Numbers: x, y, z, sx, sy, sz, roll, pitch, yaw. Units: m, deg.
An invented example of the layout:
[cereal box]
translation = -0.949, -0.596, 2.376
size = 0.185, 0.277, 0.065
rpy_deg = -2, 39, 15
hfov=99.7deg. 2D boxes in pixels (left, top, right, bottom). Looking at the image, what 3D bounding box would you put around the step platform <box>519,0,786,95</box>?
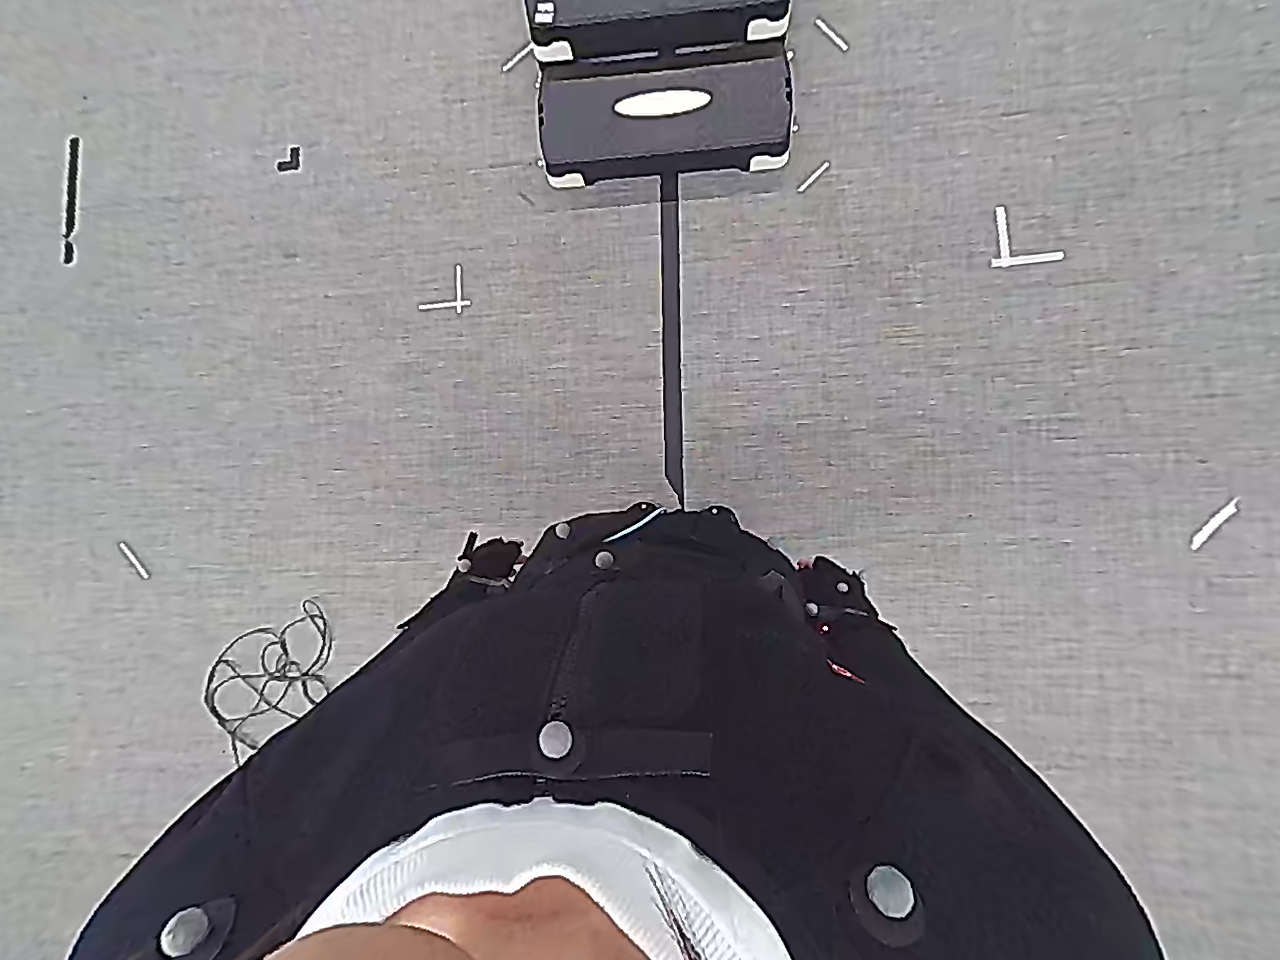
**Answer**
[step platform]
translation = 0.032, -1.242, 1.408
size = 0.684, 0.204, 0.286
rpy_deg = -3, 88, 5
